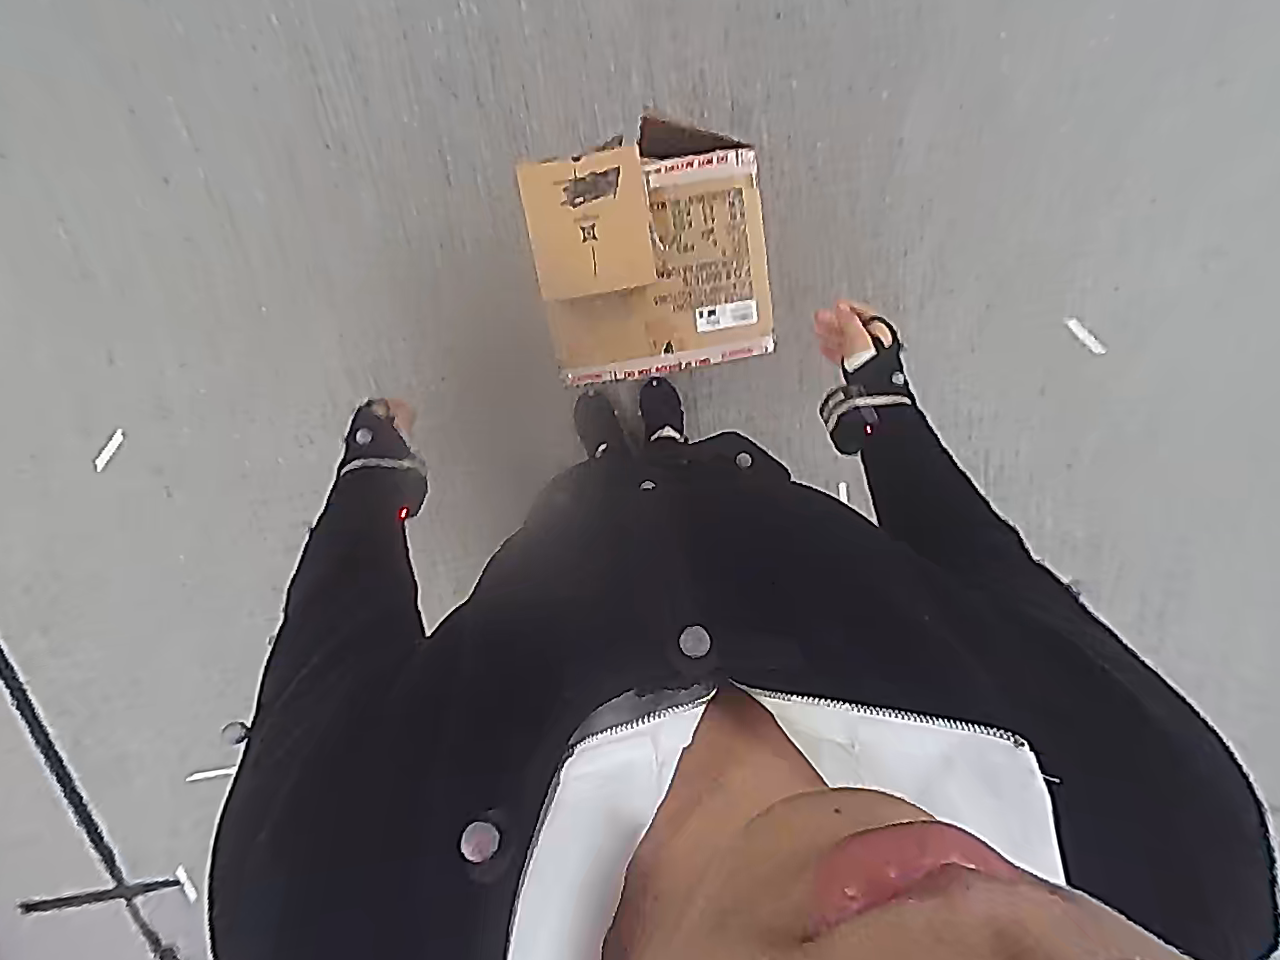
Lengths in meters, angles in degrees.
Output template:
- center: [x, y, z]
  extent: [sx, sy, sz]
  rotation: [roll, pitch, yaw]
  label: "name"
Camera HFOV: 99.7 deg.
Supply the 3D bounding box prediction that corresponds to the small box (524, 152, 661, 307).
- center: [-0.066, -0.364, 0.816]
  extent: [0.168, 0.176, 0.179]
  rotation: [-10, 108, 1]
  label: "small box"
